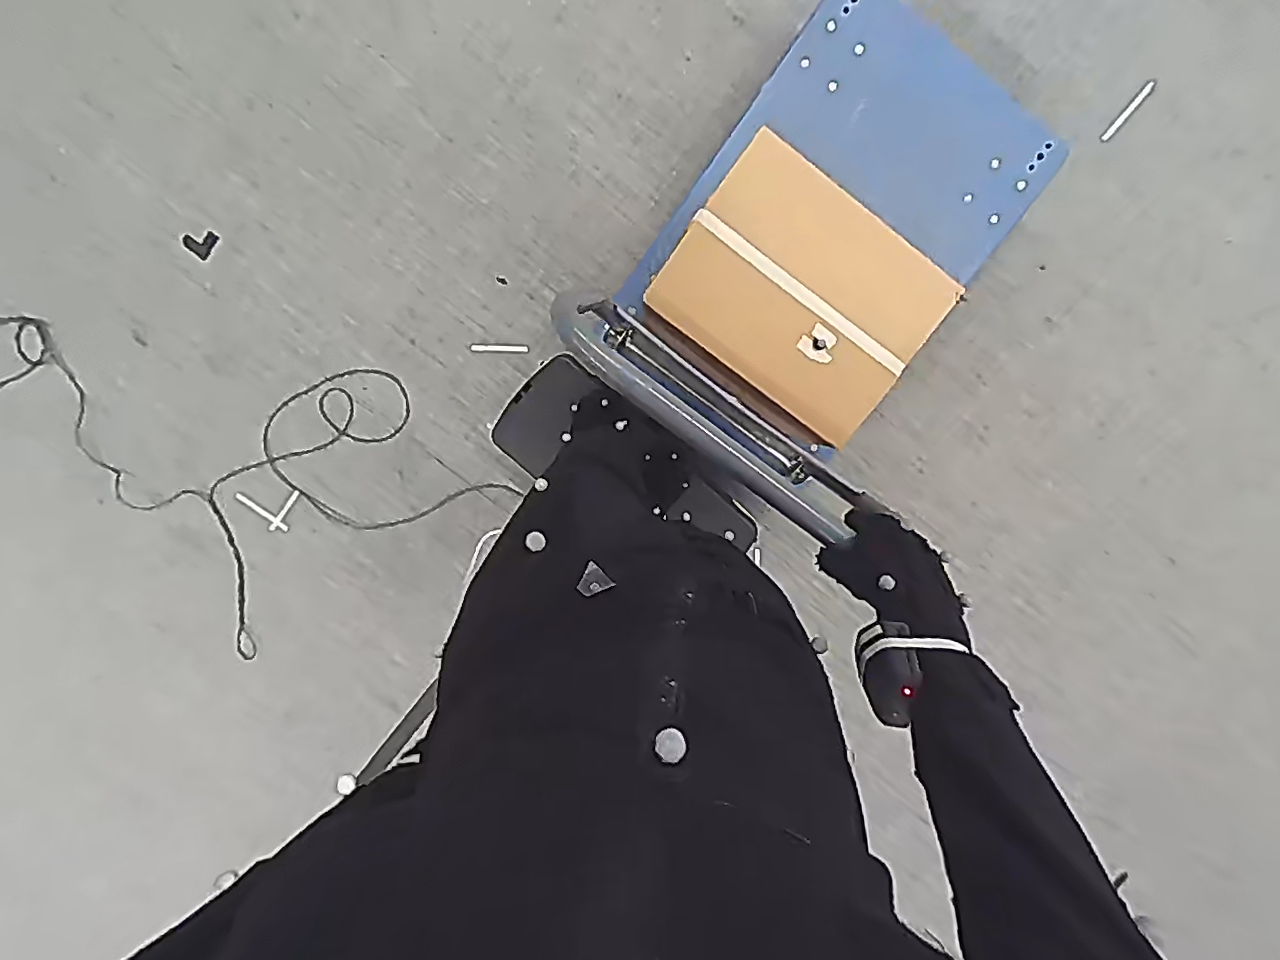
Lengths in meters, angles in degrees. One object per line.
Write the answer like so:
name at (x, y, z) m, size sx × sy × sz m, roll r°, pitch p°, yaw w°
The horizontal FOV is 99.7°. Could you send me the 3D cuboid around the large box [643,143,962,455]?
large box at (0.252, -0.295, 0.985) m, size 0.408 × 0.320 × 0.320 m, roll 36°, pitch 98°, yaw -5°
